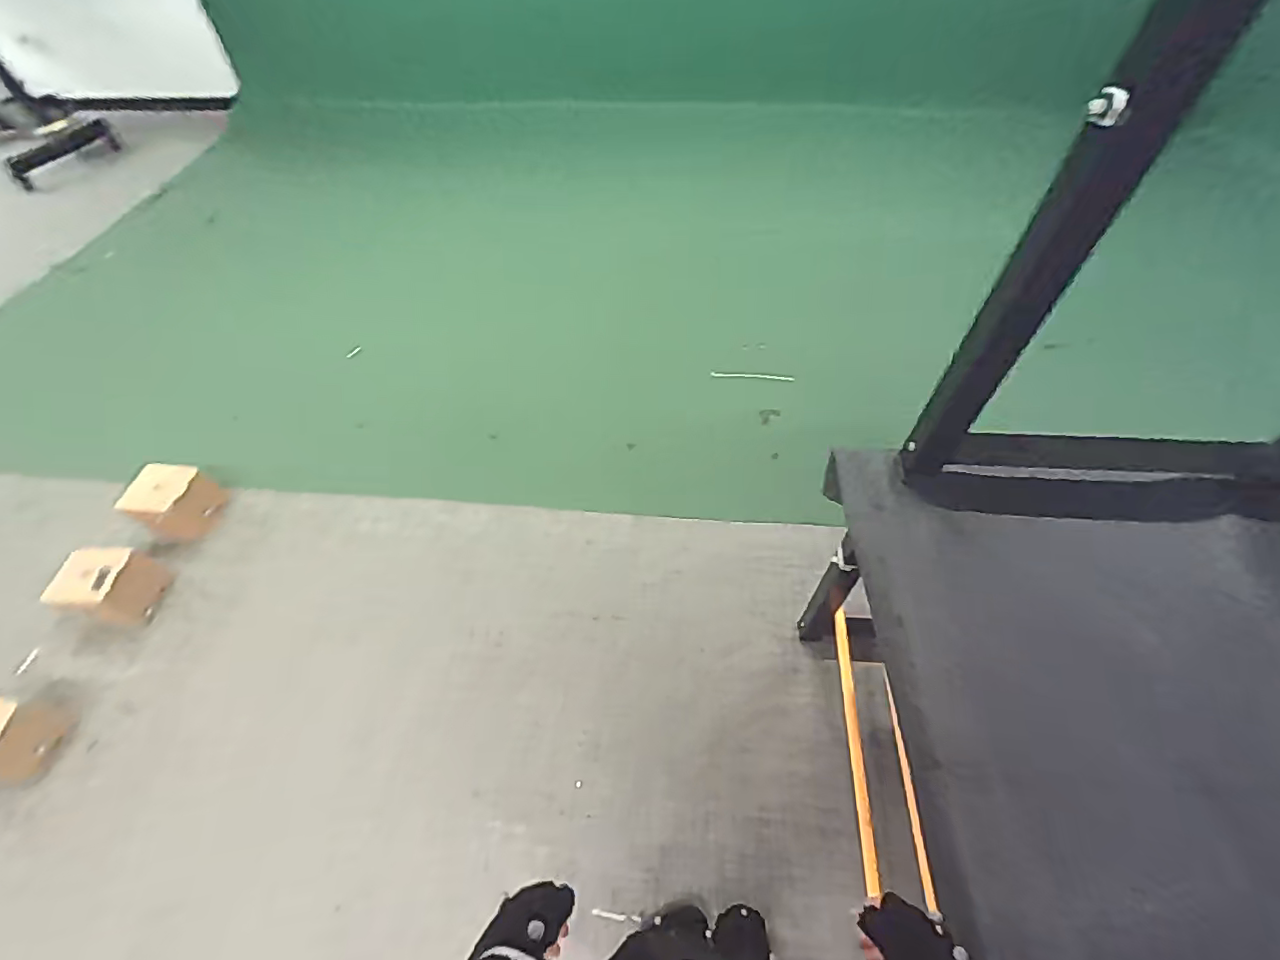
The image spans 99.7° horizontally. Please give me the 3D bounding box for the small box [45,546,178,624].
[{"bbox_3d":[-1.485,0.301,1.537,0.179,0.176,0.168,0,53,3],"label":"small box"}]

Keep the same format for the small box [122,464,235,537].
[{"bbox_3d":[-1.449,0.068,1.711,0.179,0.176,0.168,4,54,4],"label":"small box"}]

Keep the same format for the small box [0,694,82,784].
[{"bbox_3d":[-1.535,0.619,1.297,0.179,0.176,0.168,5,55,5],"label":"small box"}]
